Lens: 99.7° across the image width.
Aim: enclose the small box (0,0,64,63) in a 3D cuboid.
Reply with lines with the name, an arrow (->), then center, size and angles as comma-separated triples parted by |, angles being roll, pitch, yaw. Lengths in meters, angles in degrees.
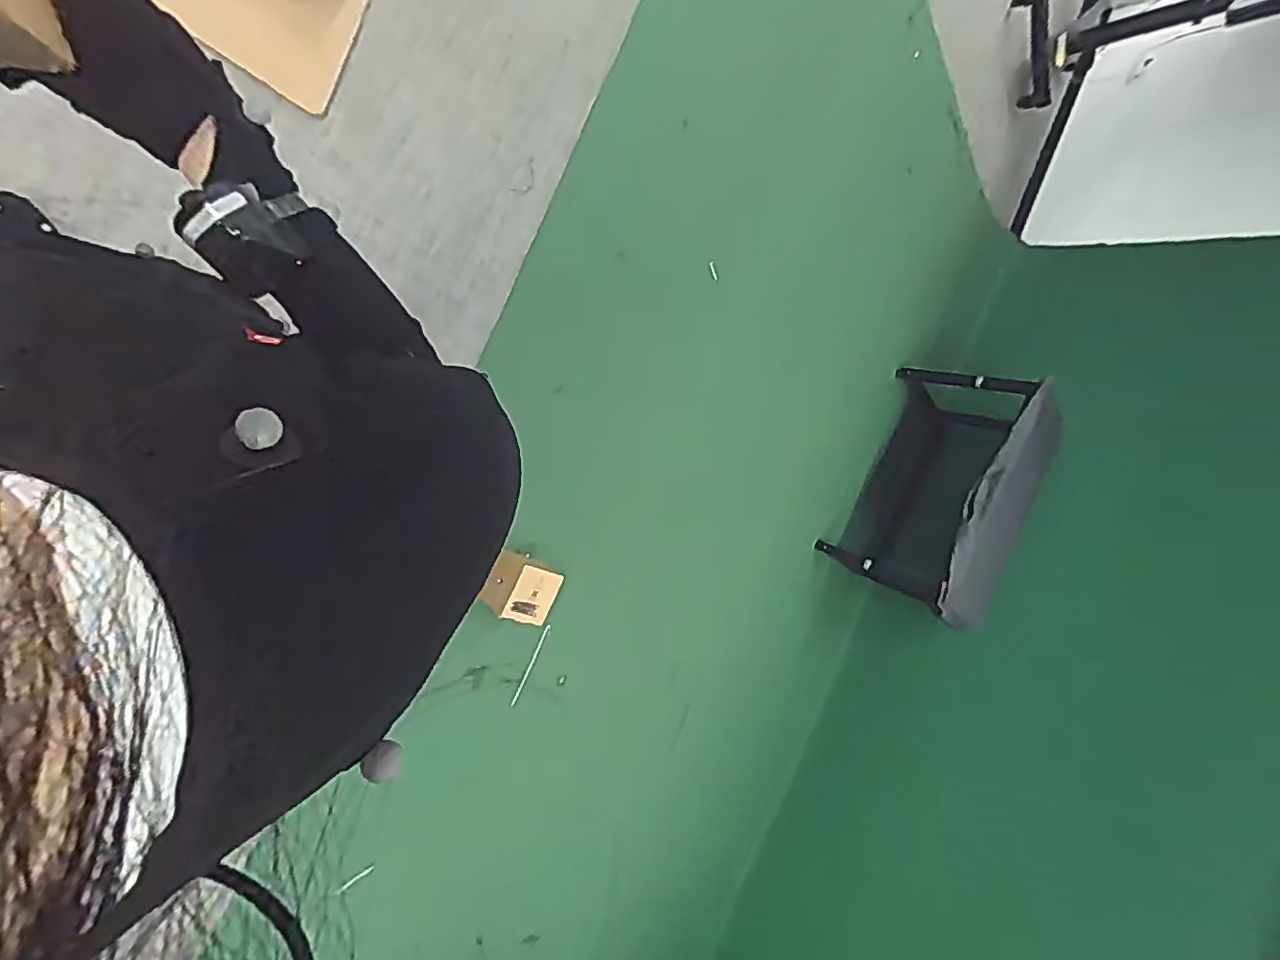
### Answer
small box -> -0.368, -0.279, 0.192 | 0.168, 0.176, 0.179 | -16, 123, -29
